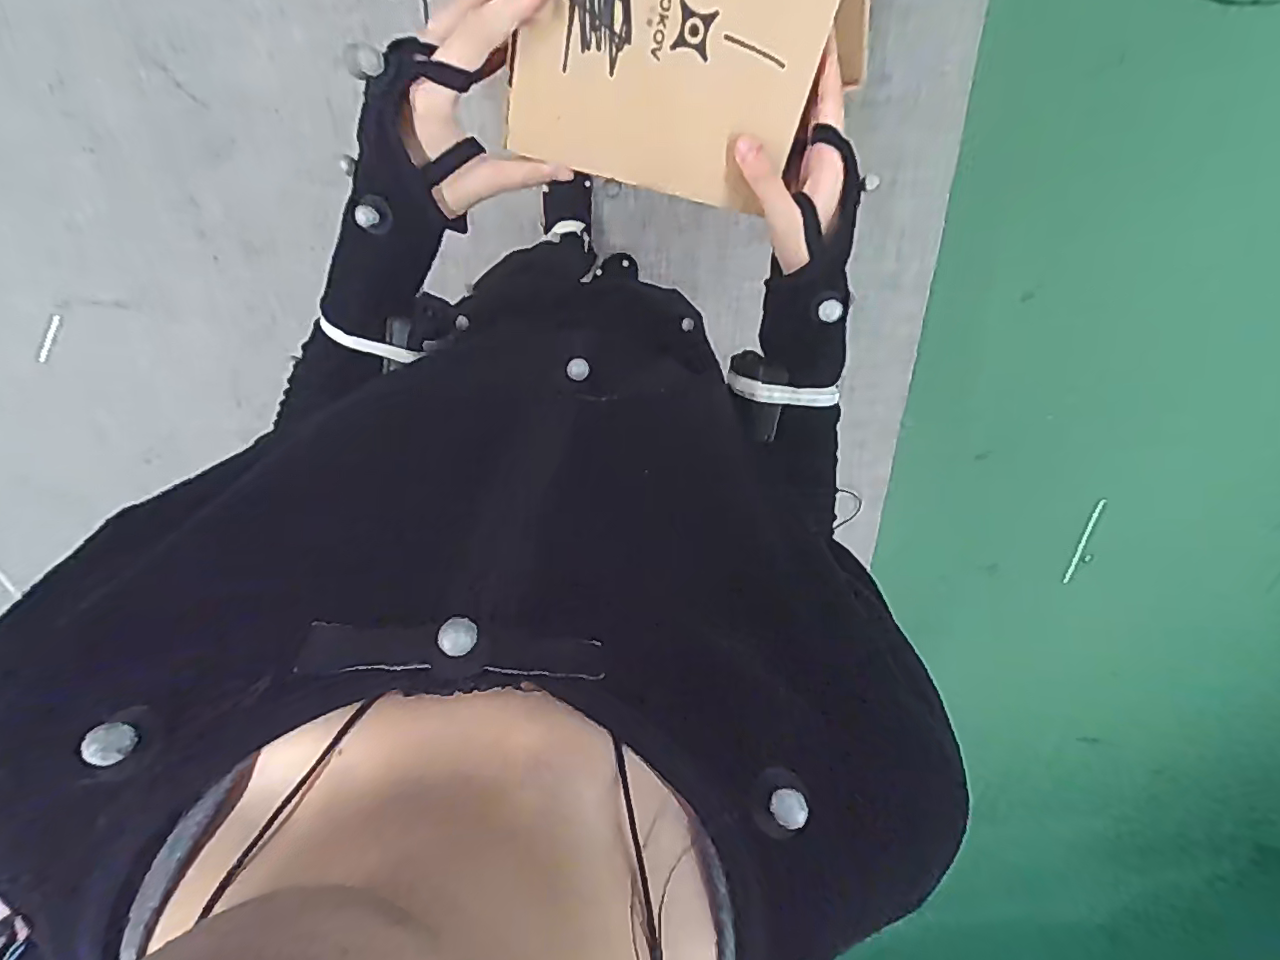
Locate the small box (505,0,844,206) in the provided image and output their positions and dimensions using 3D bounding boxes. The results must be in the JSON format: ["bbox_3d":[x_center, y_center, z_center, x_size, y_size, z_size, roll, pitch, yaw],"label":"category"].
[{"bbox_3d":[0.010,-0.299,0.354,0.179,0.176,0.168,6,123,-19],"label":"small box"}]
